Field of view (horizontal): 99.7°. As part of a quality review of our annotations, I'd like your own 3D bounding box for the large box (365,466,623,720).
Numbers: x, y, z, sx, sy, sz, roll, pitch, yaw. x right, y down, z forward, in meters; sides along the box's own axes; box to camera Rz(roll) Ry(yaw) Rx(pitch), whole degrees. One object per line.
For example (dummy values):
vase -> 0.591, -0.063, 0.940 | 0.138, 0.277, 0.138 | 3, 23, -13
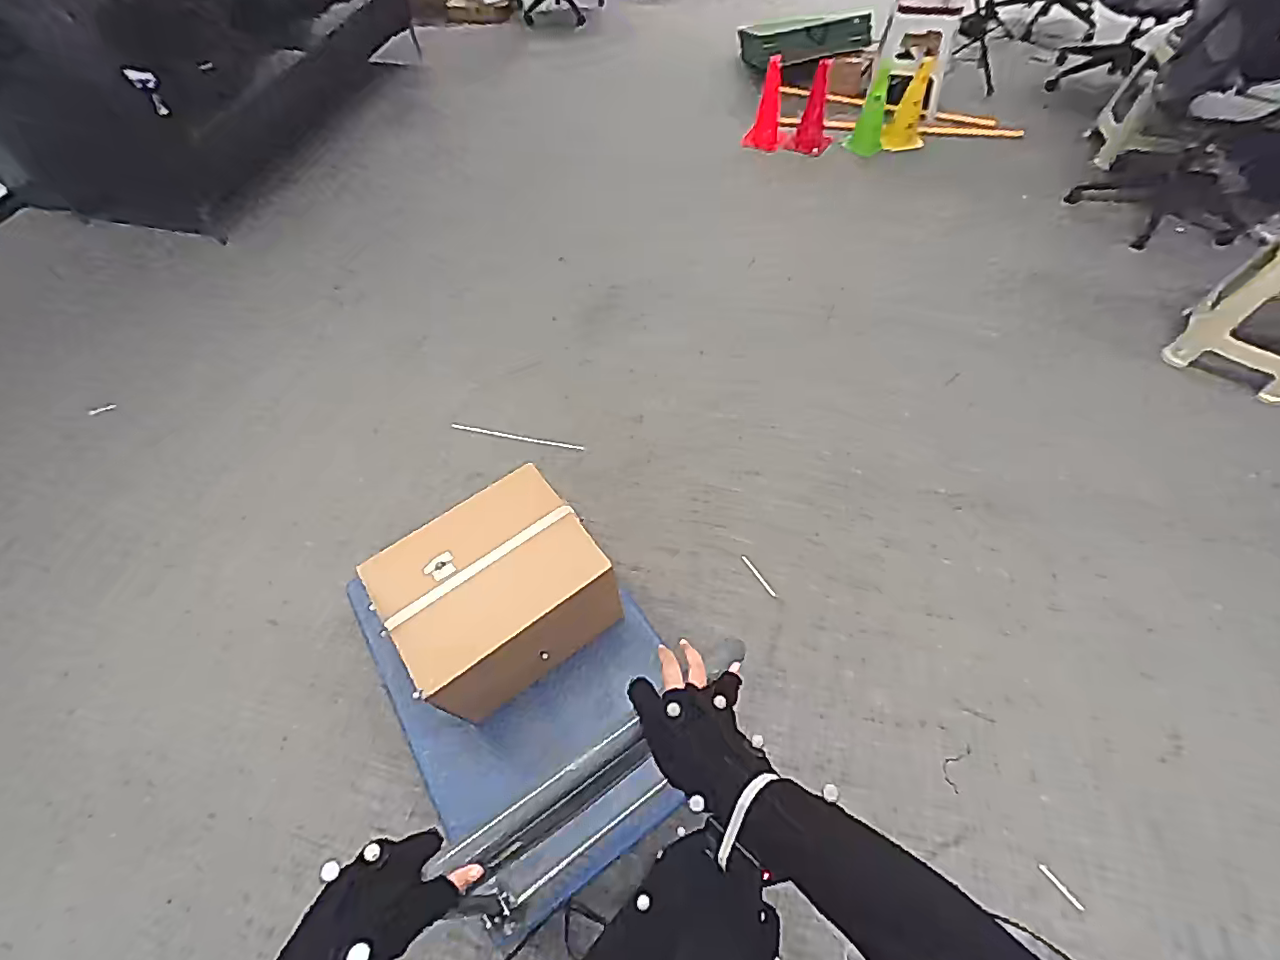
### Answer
large box -> -0.290, 0.250, 1.184 | 0.408, 0.320, 0.320 | -34, 62, -16
